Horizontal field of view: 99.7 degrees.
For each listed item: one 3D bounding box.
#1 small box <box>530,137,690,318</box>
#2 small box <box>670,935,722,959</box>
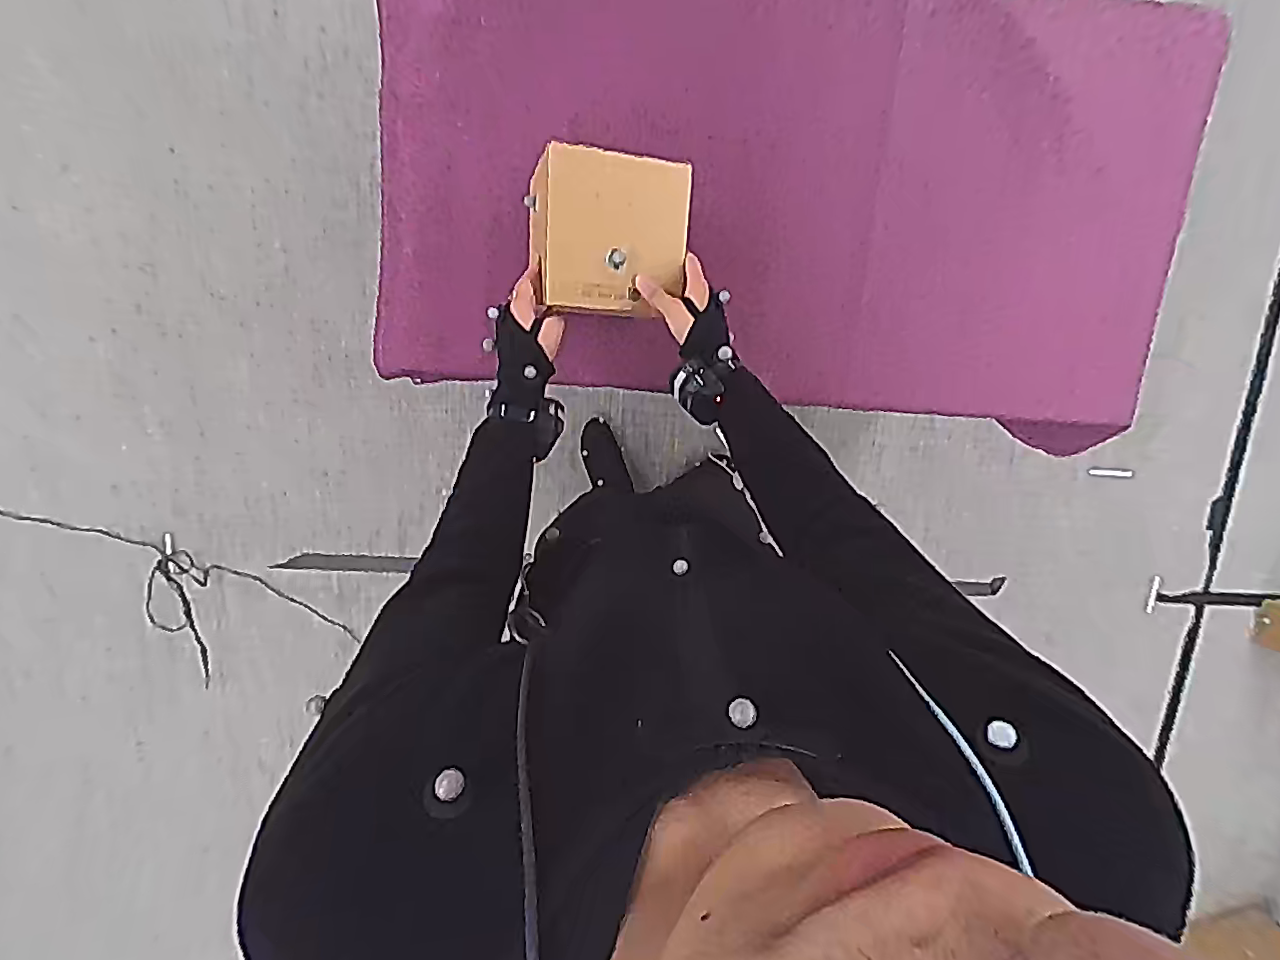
[{"bbox_3d":[-0.049,-0.301,0.687,0.168,0.179,0.176,-1,105,-17],"label":"small box"},{"bbox_3d":[0.202,1.769,1.927,0.168,0.176,0.179,4,102,-7],"label":"small box"}]
